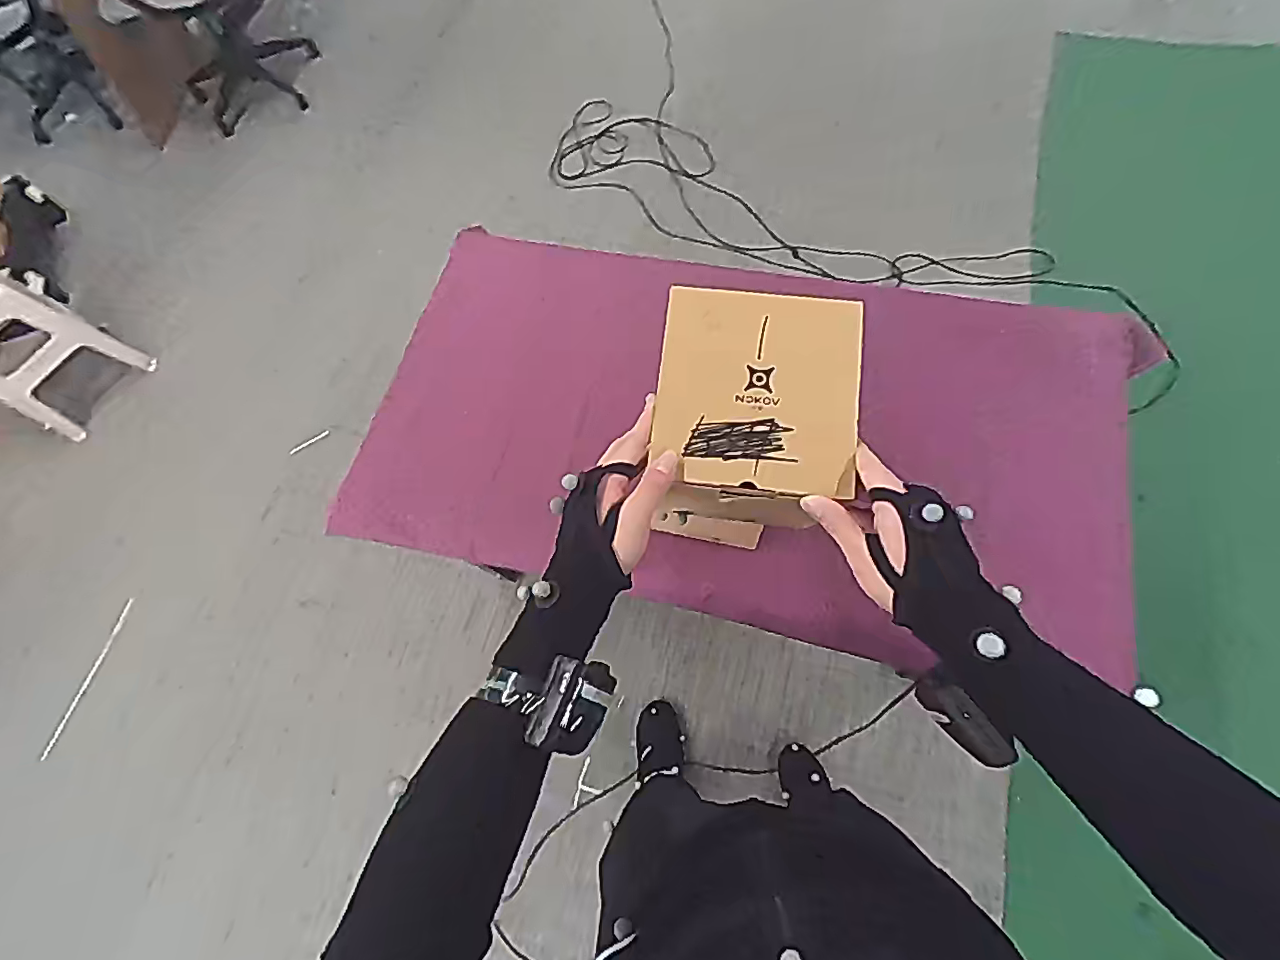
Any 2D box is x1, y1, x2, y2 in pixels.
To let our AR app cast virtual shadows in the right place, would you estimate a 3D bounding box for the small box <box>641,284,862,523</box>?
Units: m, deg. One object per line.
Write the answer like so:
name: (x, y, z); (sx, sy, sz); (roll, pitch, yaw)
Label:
small box: (0.099, -0.060, 0.523); (0.168, 0.176, 0.179); (7, 78, 5)
